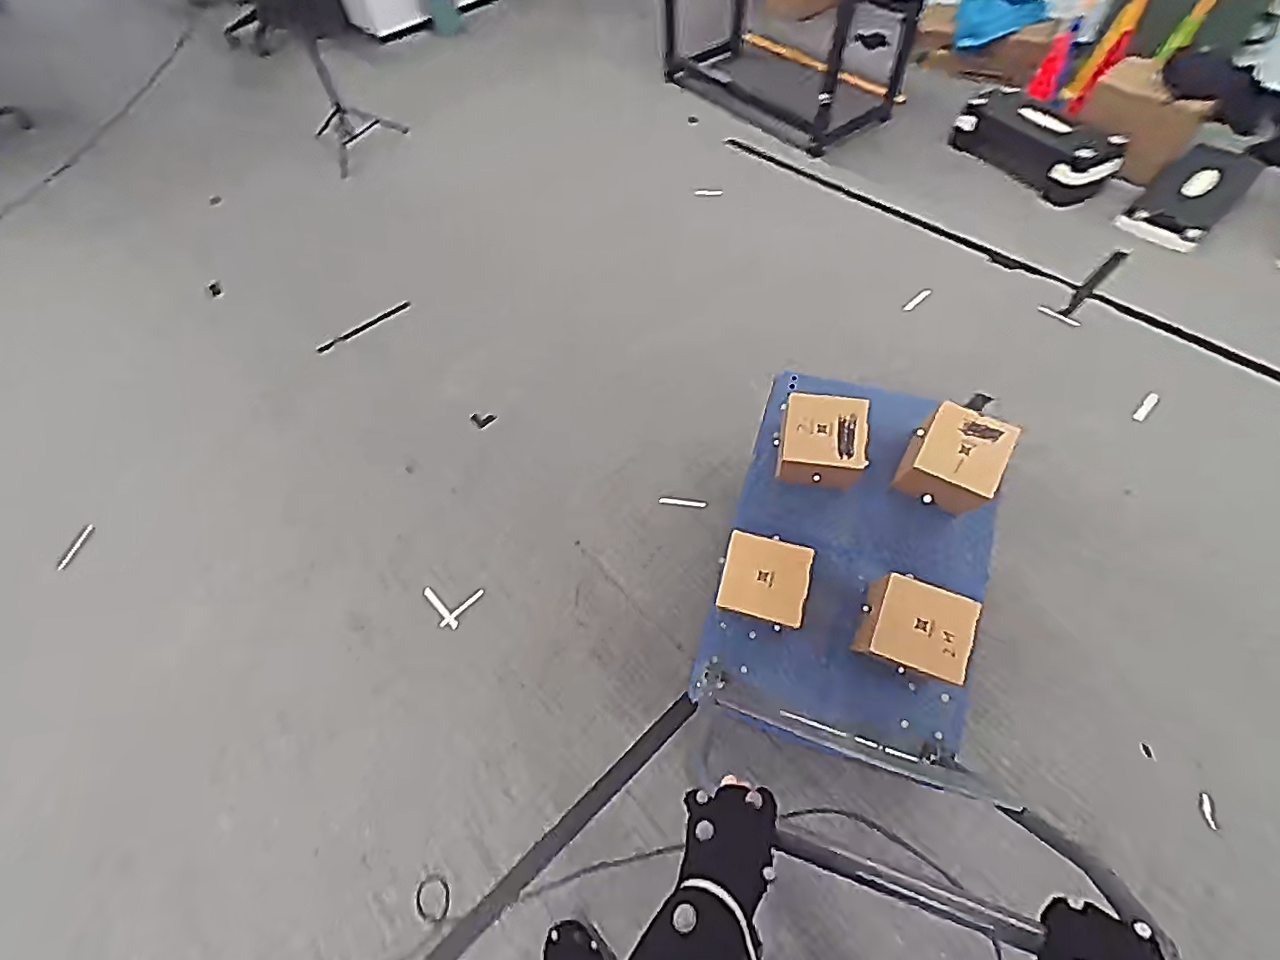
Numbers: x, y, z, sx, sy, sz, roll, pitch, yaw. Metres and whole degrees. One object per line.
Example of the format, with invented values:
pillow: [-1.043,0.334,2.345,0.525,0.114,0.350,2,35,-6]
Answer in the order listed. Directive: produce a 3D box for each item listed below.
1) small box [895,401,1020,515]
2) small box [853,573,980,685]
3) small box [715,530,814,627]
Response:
small box: [0.703,-0.043,1.218,0.168,0.176,0.179,27,79,15]
small box: [0.565,0.311,1.130,0.179,0.176,0.168,20,78,14]
small box: [0.268,0.225,1.201,0.179,0.176,0.168,14,75,10]
